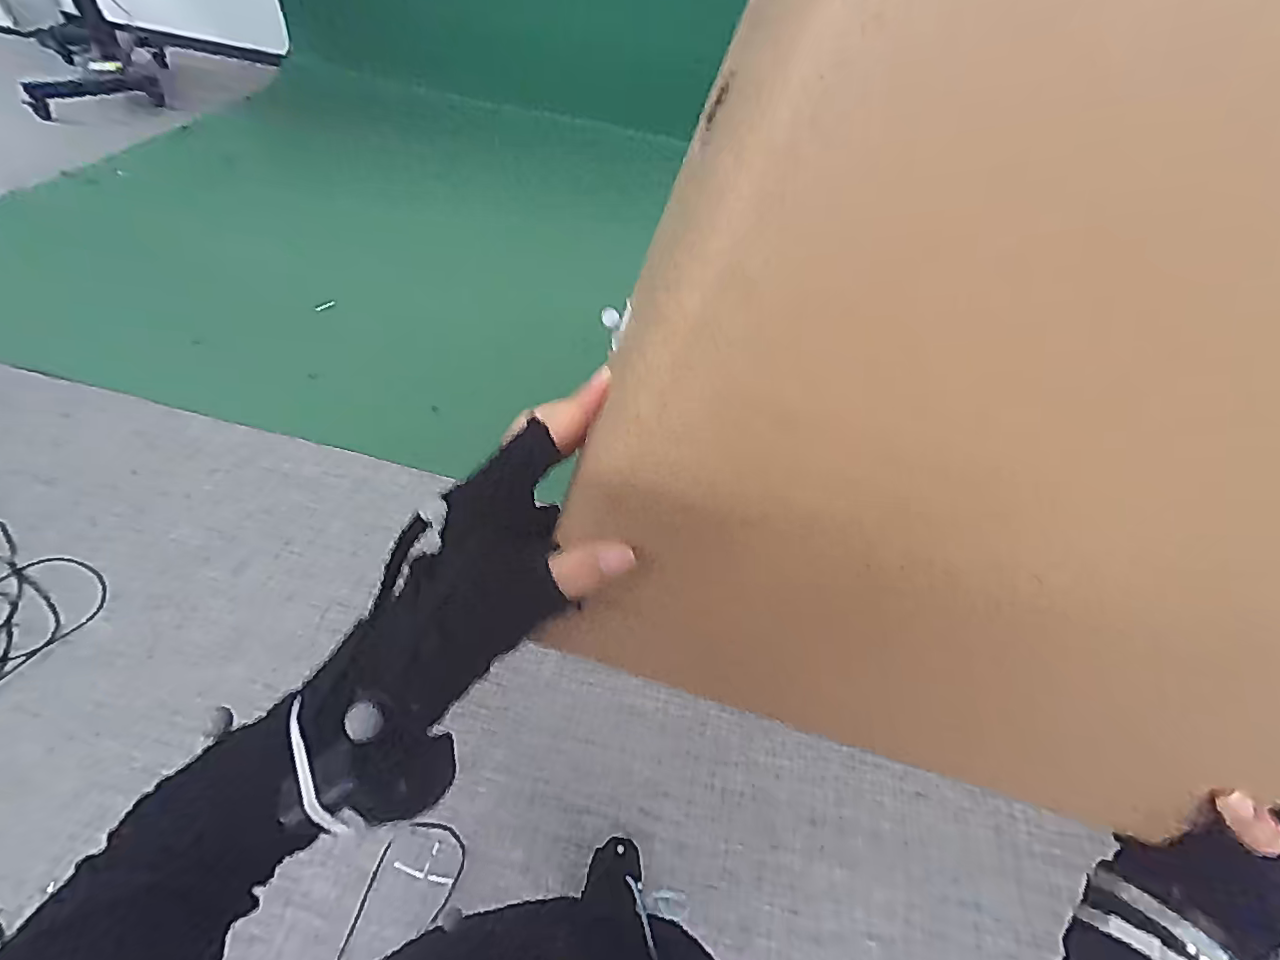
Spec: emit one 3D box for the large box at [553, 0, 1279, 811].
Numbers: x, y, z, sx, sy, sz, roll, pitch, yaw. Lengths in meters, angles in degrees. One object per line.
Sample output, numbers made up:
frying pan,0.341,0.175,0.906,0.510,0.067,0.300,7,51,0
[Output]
large box,0.202,-0.057,0.329,0.408,0.320,0.320,21,38,-10
